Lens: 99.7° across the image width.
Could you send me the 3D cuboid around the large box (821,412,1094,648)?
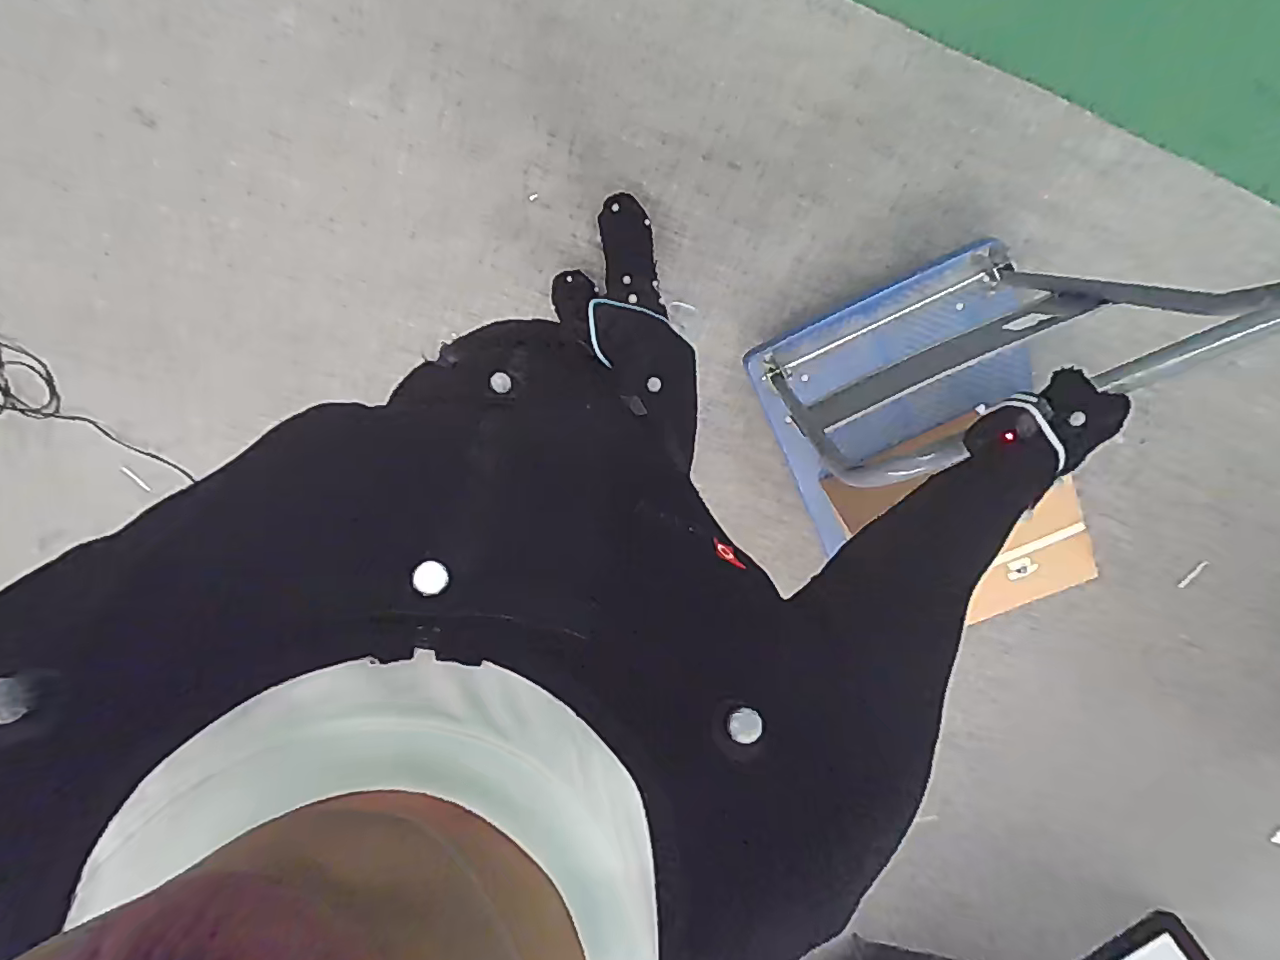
[{"bbox_3d":[0.699,0.106,1.248,0.408,0.320,0.320,-28,114,13],"label":"large box"}]
